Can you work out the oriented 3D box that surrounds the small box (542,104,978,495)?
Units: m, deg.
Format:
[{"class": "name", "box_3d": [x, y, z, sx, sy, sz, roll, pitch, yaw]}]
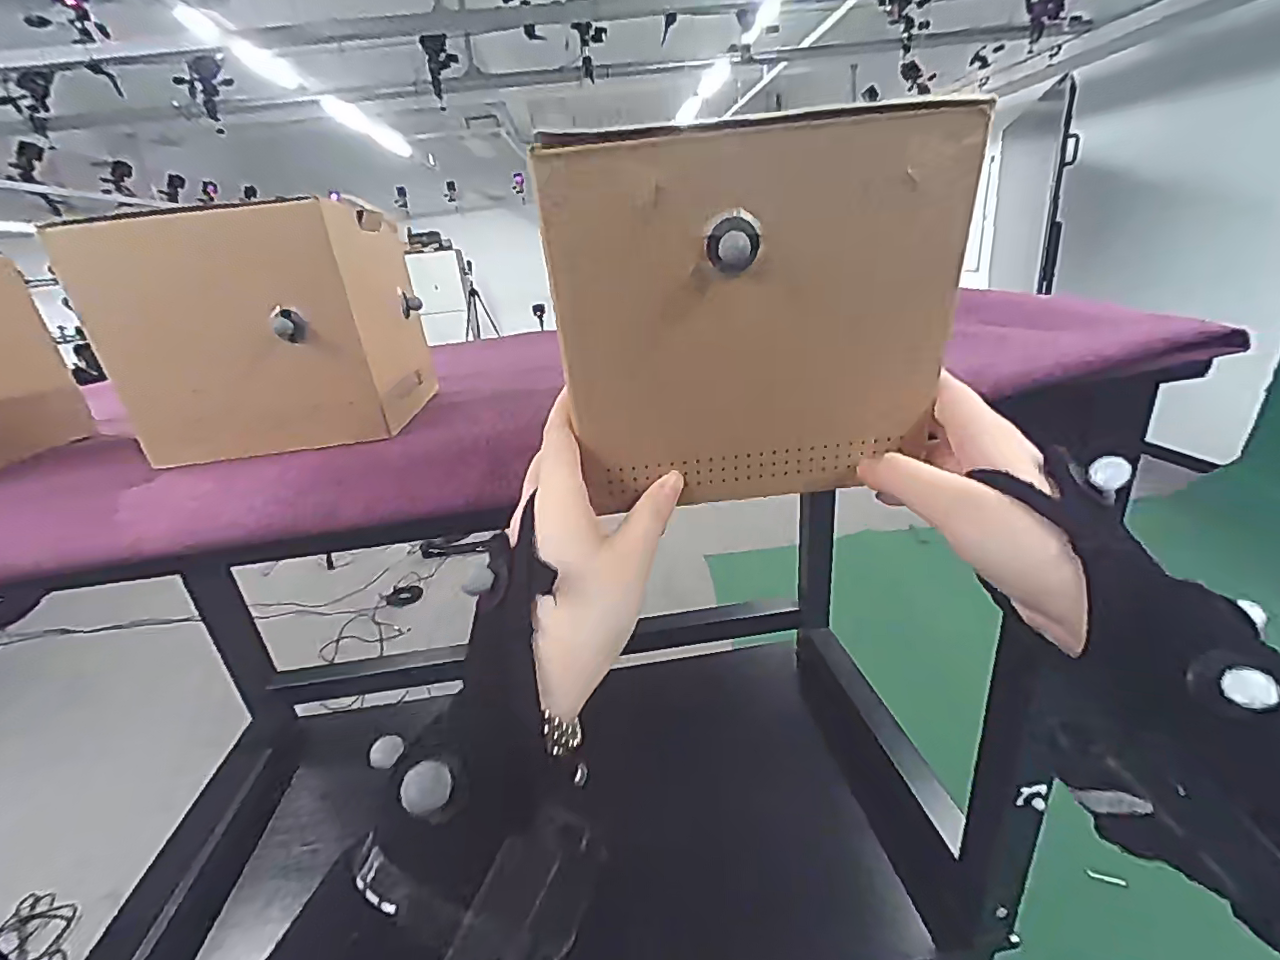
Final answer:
[{"class": "small box", "box_3d": [0.050, -0.103, 0.317, 0.179, 0.176, 0.168, -5, 31, -1]}]

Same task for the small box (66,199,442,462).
[{"class": "small box", "box_3d": [-0.283, -0.126, 0.454, 0.179, 0.176, 0.168, -9, 22, -4]}]

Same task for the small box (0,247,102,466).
[{"class": "small box", "box_3d": [-0.601, -0.085, 0.426, 0.168, 0.176, 0.179, -7, 23, -5]}]
